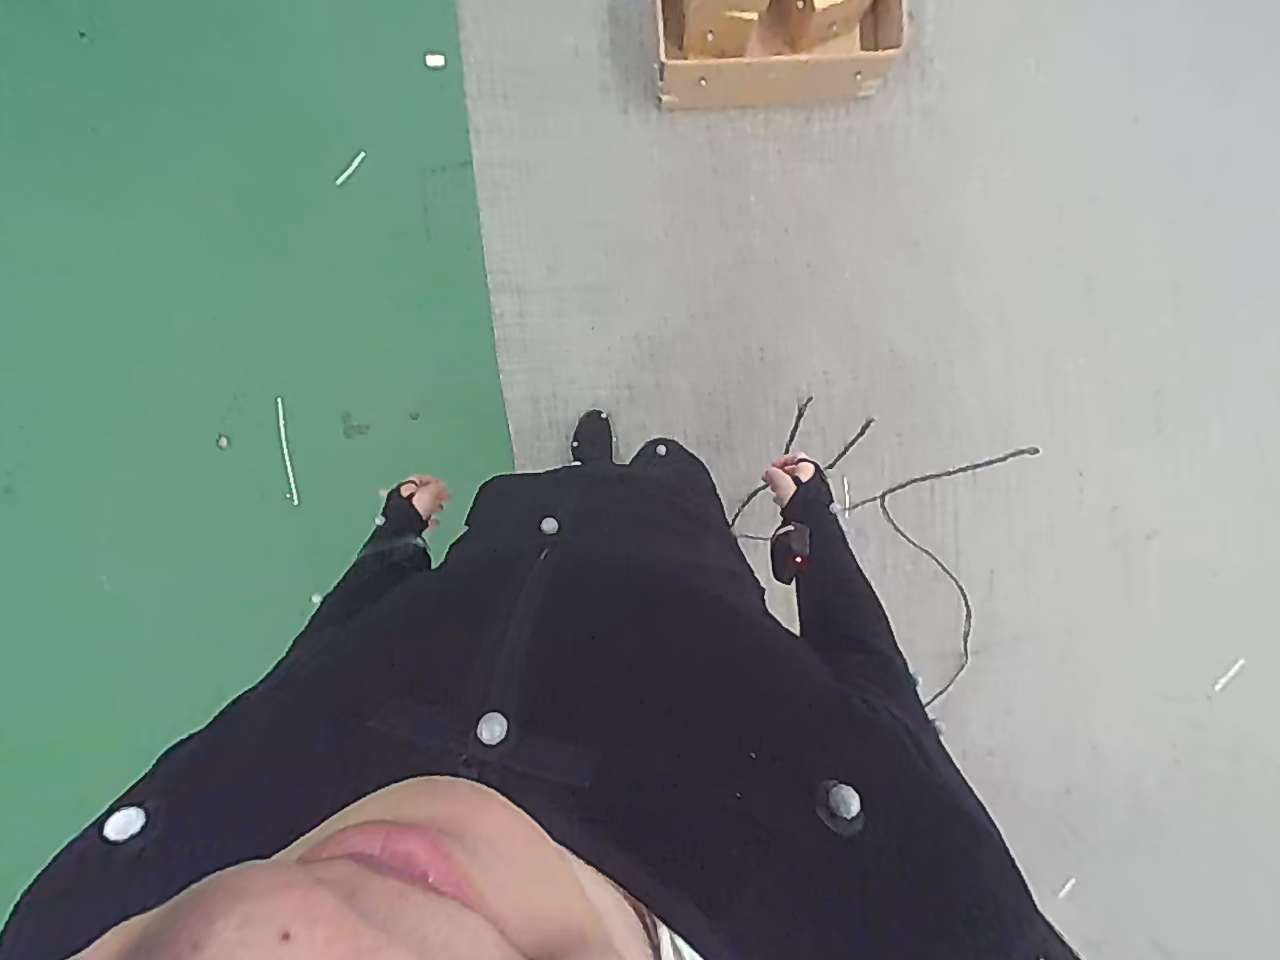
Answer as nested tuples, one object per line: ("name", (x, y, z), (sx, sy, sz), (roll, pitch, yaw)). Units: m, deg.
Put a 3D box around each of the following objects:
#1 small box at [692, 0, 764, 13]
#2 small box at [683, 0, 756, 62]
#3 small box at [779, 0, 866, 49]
("small box", (0.209, -1.182, 1.196), (0.179, 0.176, 0.168), (-1, 96, -3))
("small box", (0.203, -1.200, 1.359), (0.168, 0.176, 0.179), (6, 95, -3))
("small box", (0.464, -1.238, 1.360), (0.168, 0.176, 0.179), (-20, 96, 1))
